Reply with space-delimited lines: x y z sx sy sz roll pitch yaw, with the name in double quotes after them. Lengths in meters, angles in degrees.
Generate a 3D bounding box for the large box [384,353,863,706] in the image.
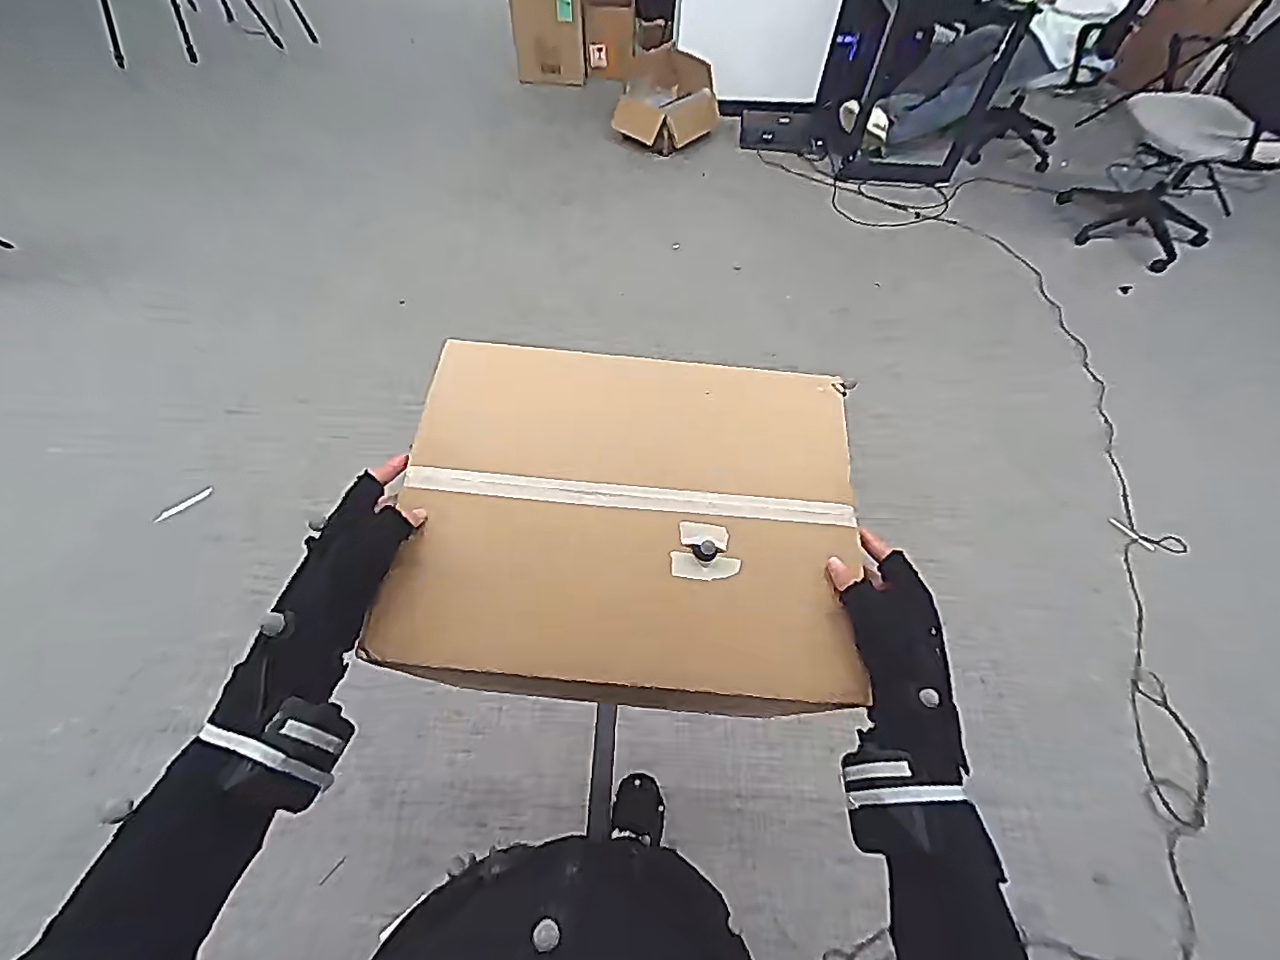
-0.012 0.082 0.638 0.408 0.320 0.320 5 66 -1 "large box"
